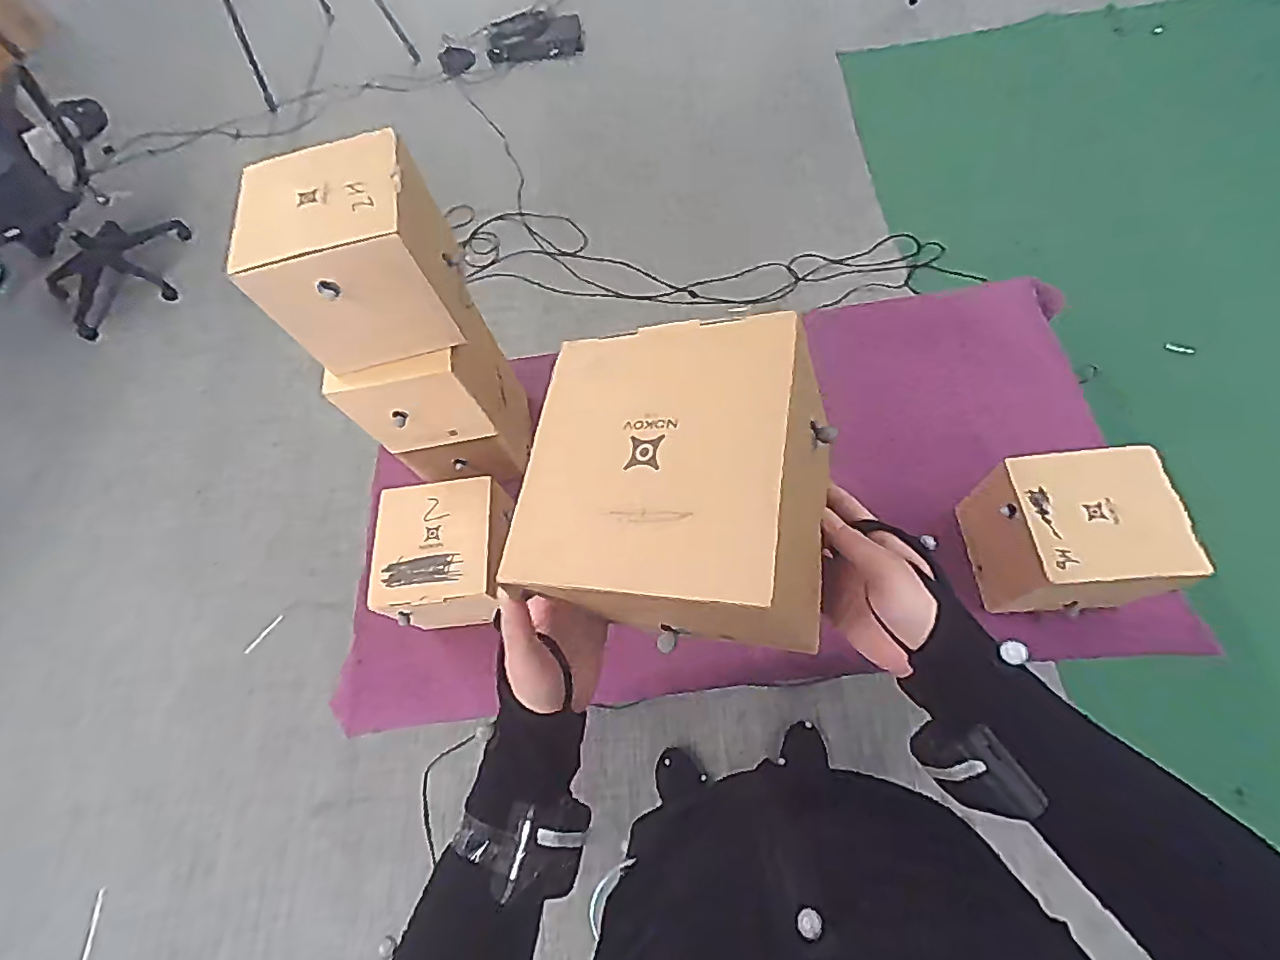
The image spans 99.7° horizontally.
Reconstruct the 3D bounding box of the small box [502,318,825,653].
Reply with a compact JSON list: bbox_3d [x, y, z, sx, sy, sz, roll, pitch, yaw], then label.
[{"bbox_3d":[0.035,0.014,0.388,0.168,0.176,0.179,0,67,26],"label":"small box"}]

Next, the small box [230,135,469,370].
[{"bbox_3d":[-0.318,-0.250,0.627,0.179,0.176,0.168,-13,65,1],"label":"small box"}]

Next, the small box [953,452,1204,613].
[{"bbox_3d":[0.558,0.077,0.721,0.179,0.176,0.168,-4,64,6],"label":"small box"}]

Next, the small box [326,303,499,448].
[{"bbox_3d":[-0.307,-0.158,0.765,0.168,0.176,0.179,-10,64,3],"label":"small box"}]
